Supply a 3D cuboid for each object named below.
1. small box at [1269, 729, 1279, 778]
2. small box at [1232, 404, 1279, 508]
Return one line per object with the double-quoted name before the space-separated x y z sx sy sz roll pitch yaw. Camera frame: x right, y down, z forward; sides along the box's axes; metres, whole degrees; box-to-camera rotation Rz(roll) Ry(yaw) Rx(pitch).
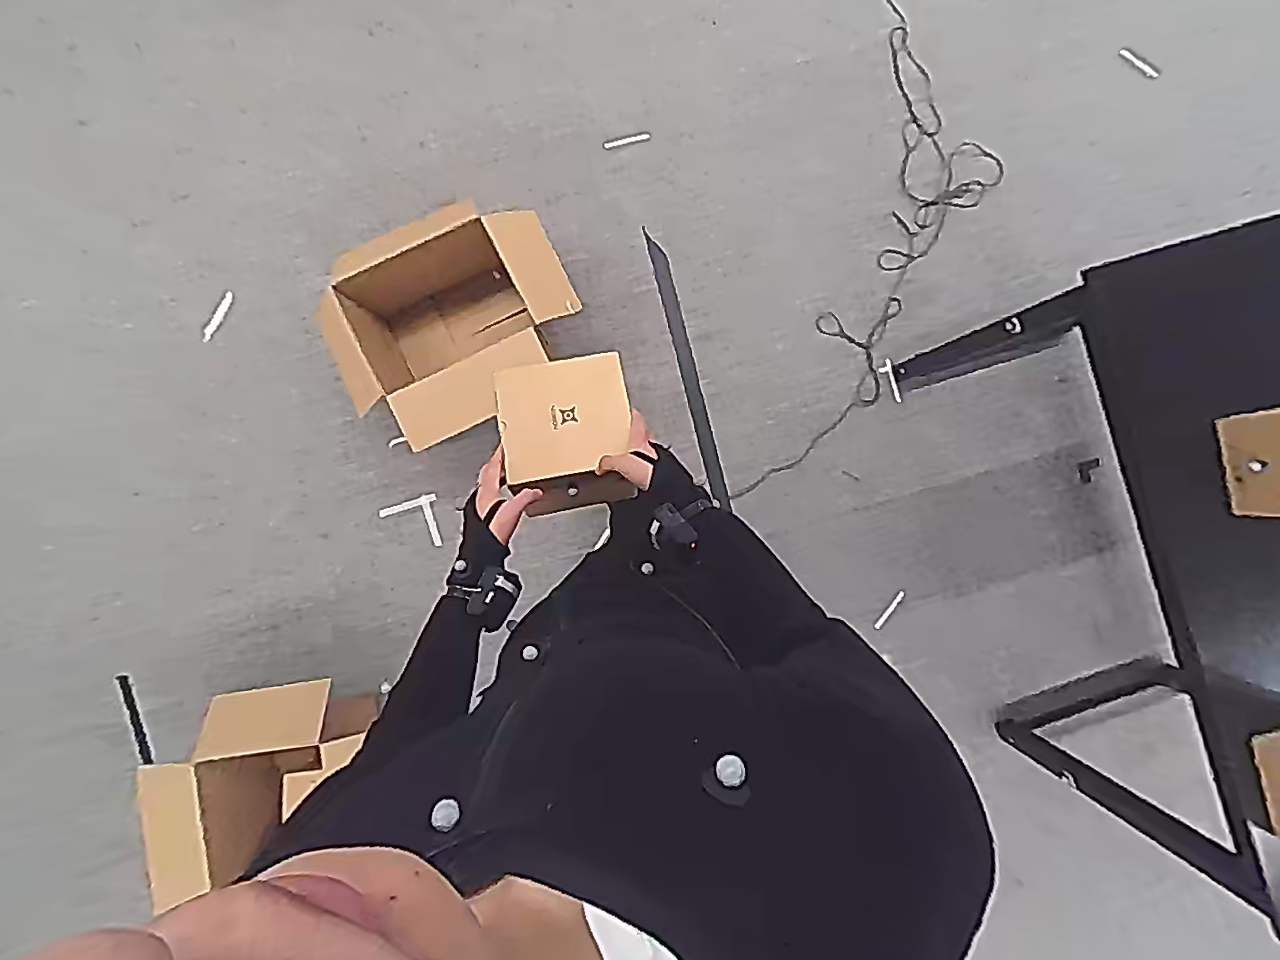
"small box" 1.152 0.491 0.828 0.168 0.176 0.179 -14 89 -2
"small box" 1.092 -0.049 0.830 0.179 0.176 0.168 -11 89 -1
